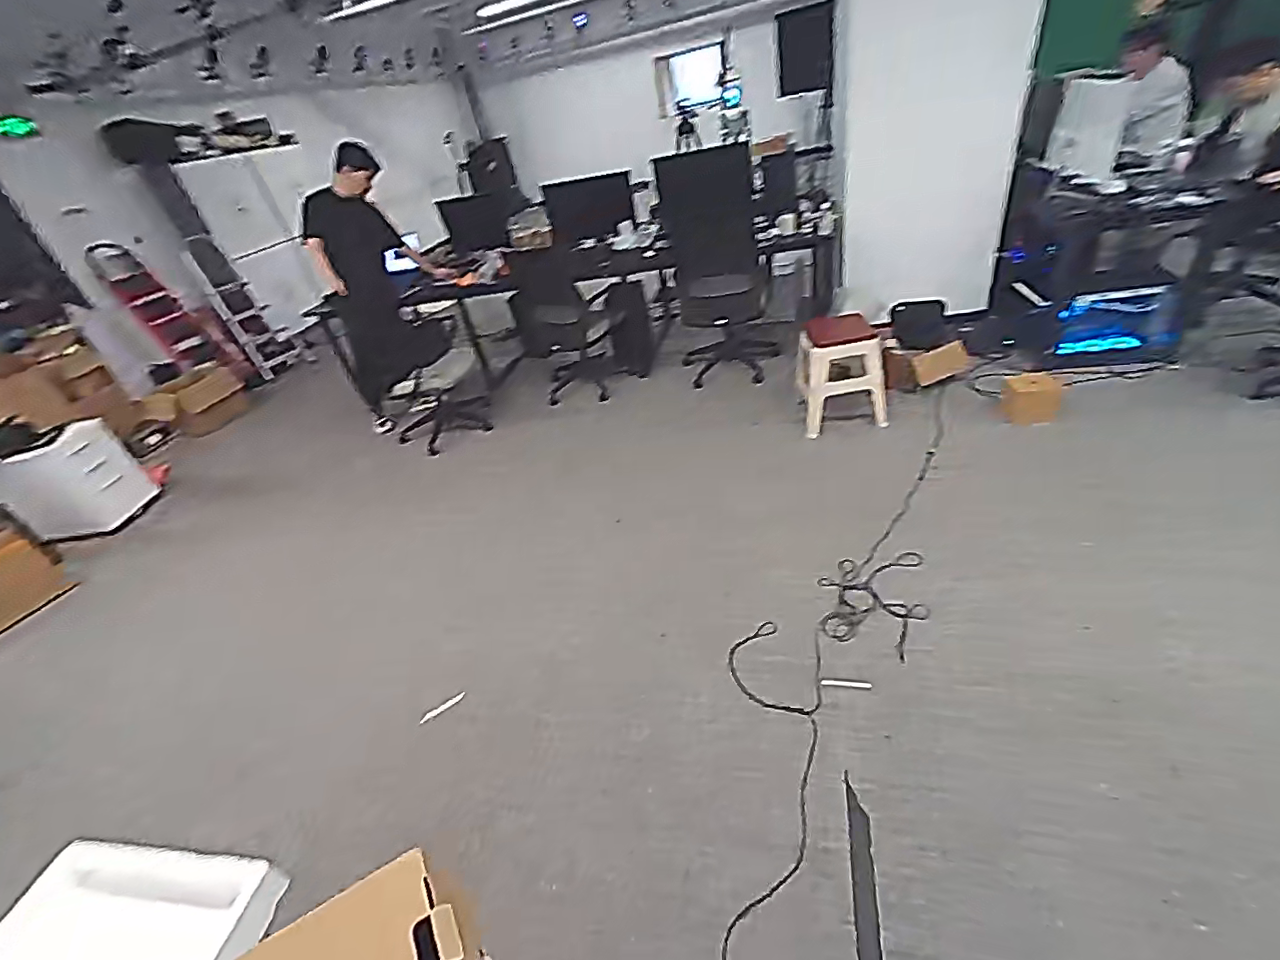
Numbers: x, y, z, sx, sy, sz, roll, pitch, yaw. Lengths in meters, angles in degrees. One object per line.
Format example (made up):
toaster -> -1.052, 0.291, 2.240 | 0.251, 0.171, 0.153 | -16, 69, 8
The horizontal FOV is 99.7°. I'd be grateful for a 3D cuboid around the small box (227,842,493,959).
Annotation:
small box -> -0.229, 0.476, 0.474 | 0.179, 0.176, 0.168 | -22, 41, -20
